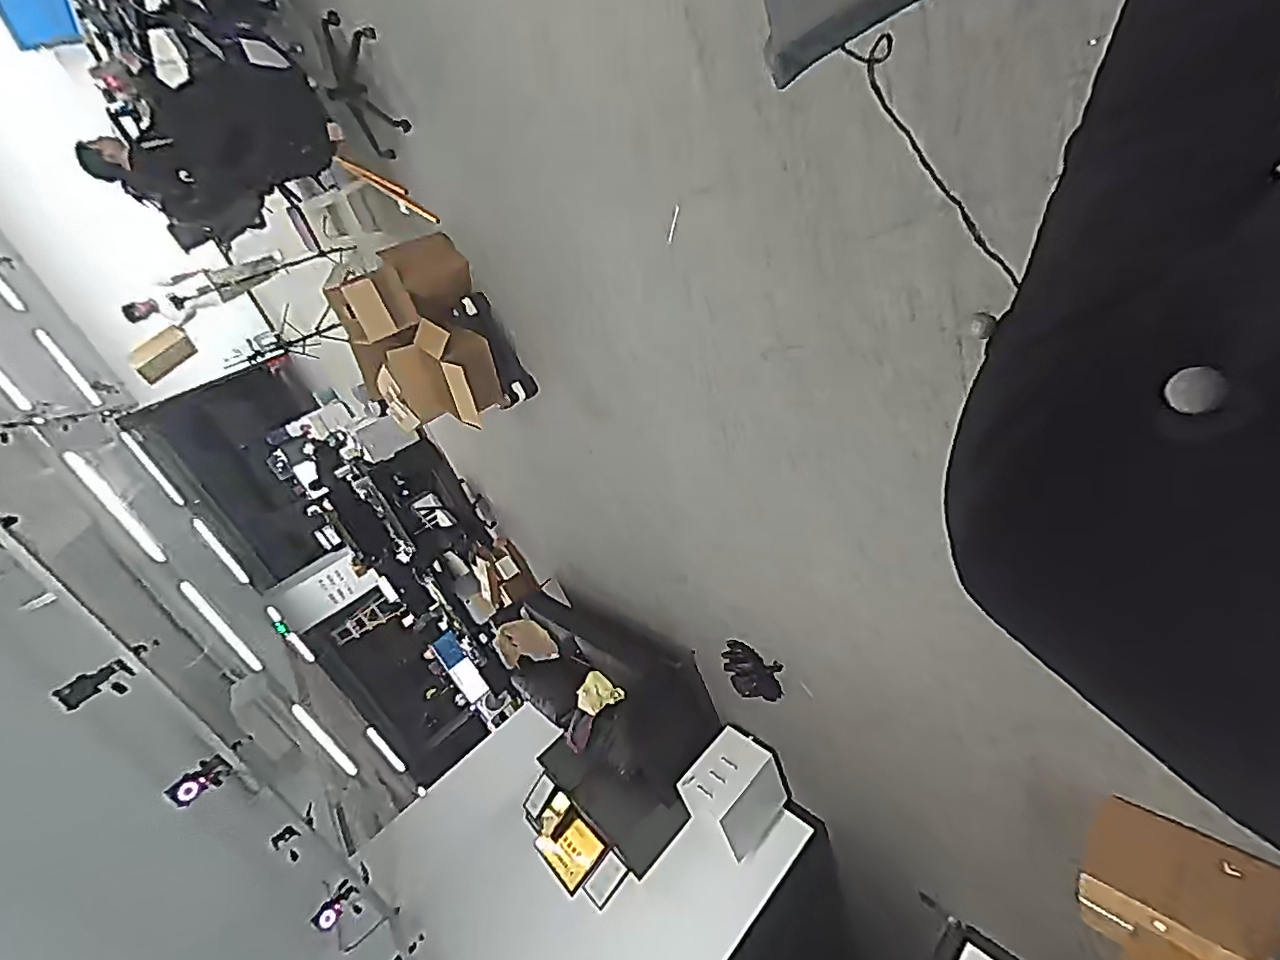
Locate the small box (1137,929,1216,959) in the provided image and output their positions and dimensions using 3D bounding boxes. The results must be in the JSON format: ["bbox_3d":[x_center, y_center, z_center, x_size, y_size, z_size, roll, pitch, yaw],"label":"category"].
[{"bbox_3d":[1.528,1.424,1.521,0.179,0.176,0.168,11,125,53],"label":"small box"}]
